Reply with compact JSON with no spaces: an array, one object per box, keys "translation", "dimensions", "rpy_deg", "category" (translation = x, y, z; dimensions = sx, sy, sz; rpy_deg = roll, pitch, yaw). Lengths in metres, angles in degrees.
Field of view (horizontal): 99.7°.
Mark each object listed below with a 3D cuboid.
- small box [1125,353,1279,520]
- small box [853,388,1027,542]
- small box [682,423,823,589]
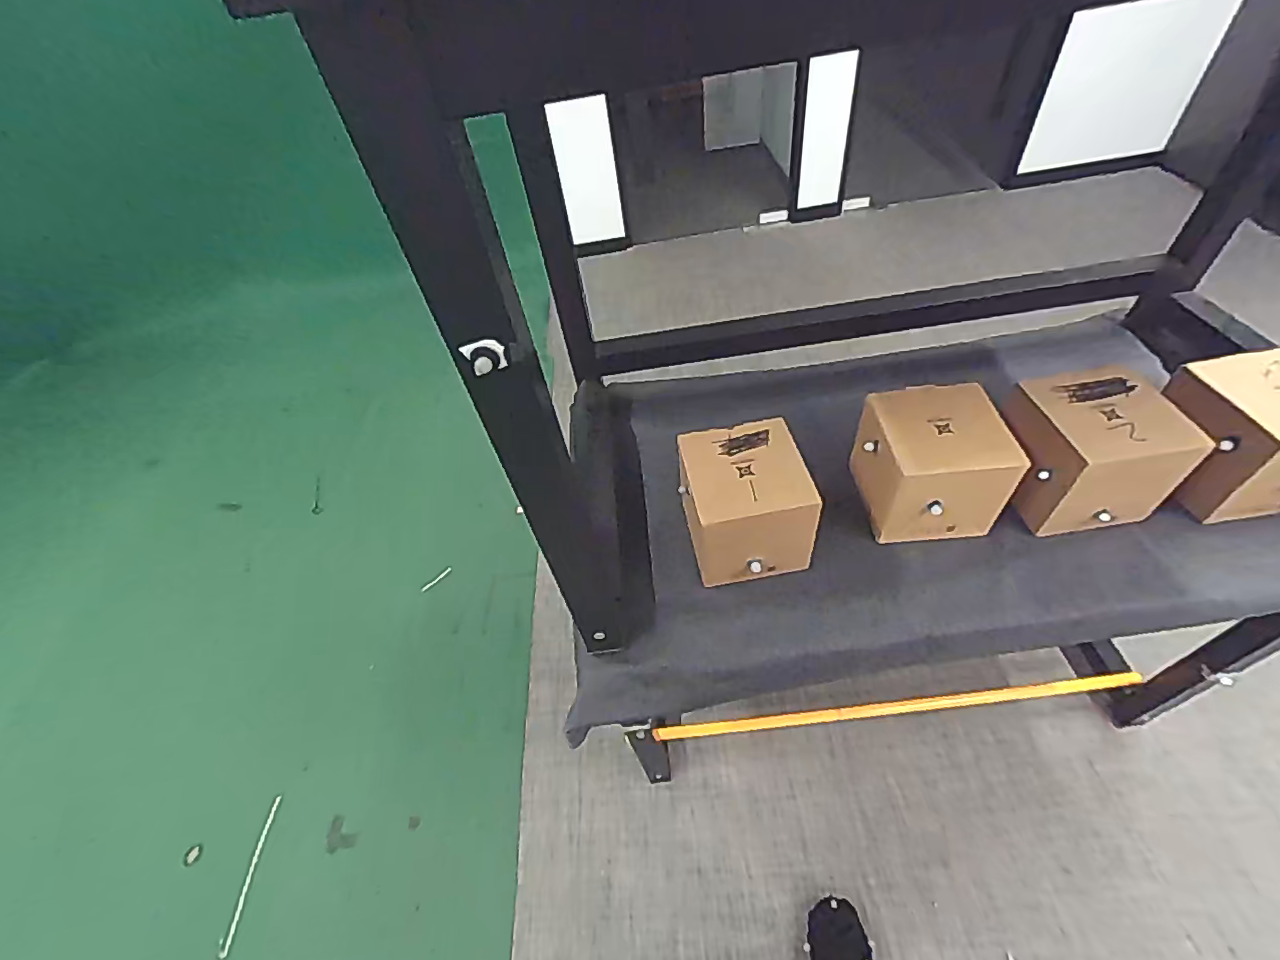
[{"translation":[0.888,-0.057,0.792],"dimensions":[0.168,0.176,0.179],"rpy_deg":[-9,47,1],"category":"small box"},{"translation":[0.444,-0.016,0.836],"dimensions":[0.168,0.176,0.179],"rpy_deg":[-5,48,5],"category":"small box"},{"translation":[0.161,0.042,0.829],"dimensions":[0.168,0.176,0.179],"rpy_deg":[-11,49,0],"category":"small box"}]
